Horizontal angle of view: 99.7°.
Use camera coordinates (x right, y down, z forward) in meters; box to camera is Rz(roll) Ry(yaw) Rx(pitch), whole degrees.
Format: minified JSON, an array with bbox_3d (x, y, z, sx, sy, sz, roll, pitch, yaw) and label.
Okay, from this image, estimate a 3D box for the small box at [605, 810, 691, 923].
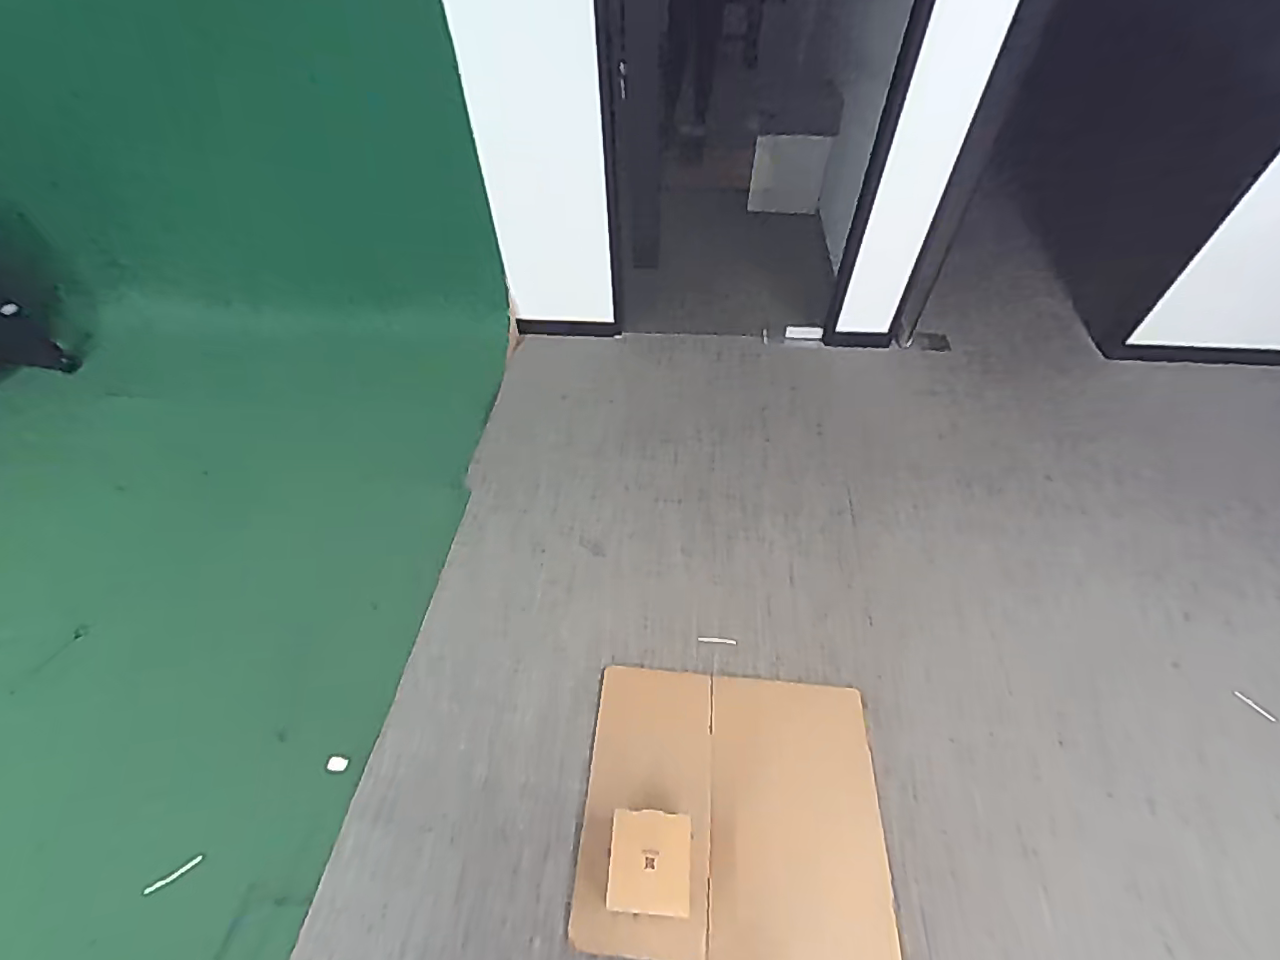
[{"bbox_3d":[0.023,0.821,1.147,0.168,0.176,0.179,3,50,3],"label":"small box"}]
